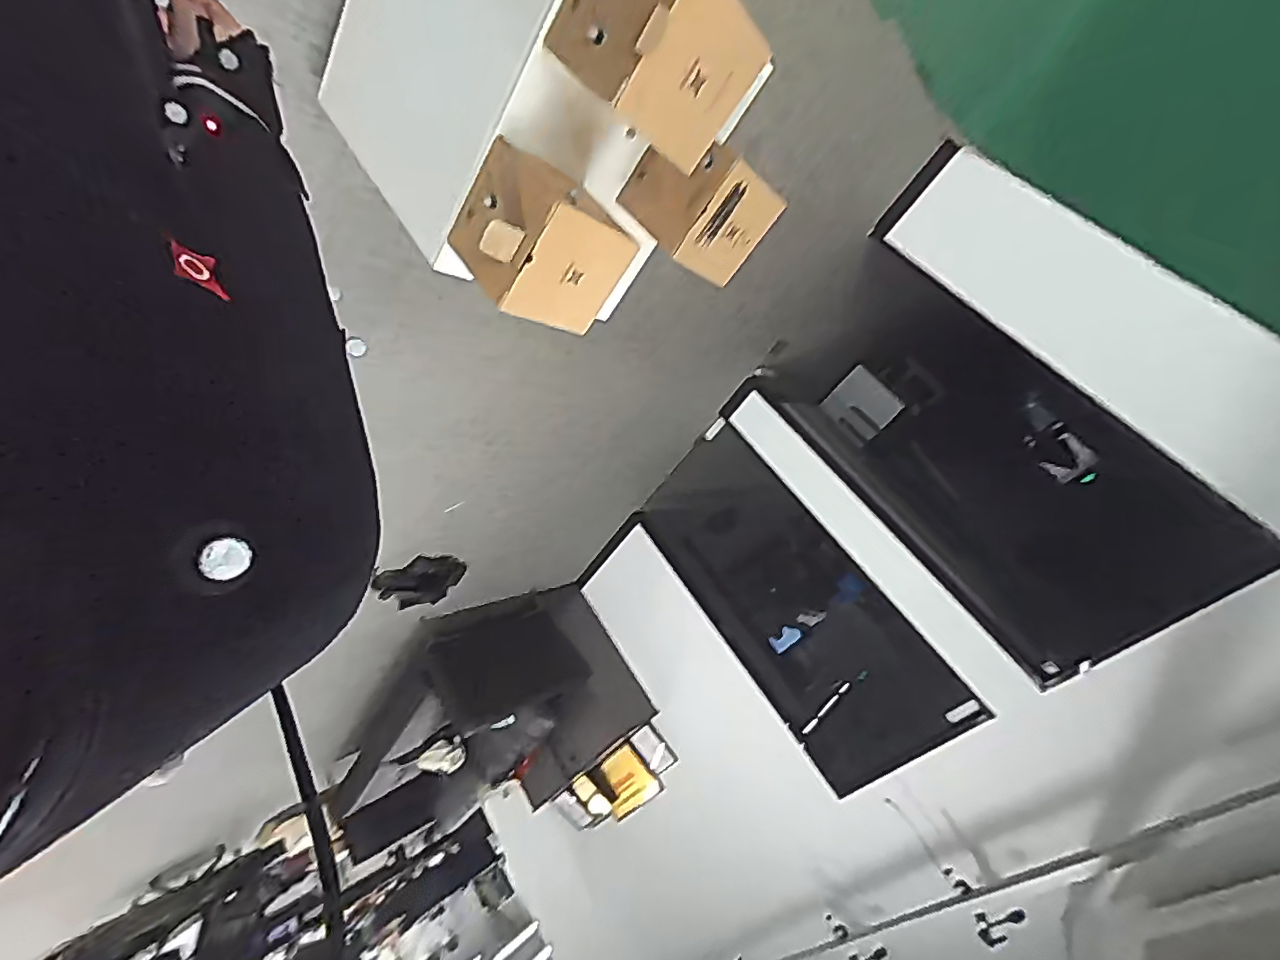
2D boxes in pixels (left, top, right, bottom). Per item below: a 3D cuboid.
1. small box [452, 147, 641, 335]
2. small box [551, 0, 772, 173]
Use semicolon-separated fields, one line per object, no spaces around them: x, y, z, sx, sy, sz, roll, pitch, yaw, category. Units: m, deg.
-0.138;-0.343;0.792;0.179;0.176;0.168;-3;139;-53;small box
0.022;-0.531;0.667;0.168;0.176;0.179;-48;156;28;small box
